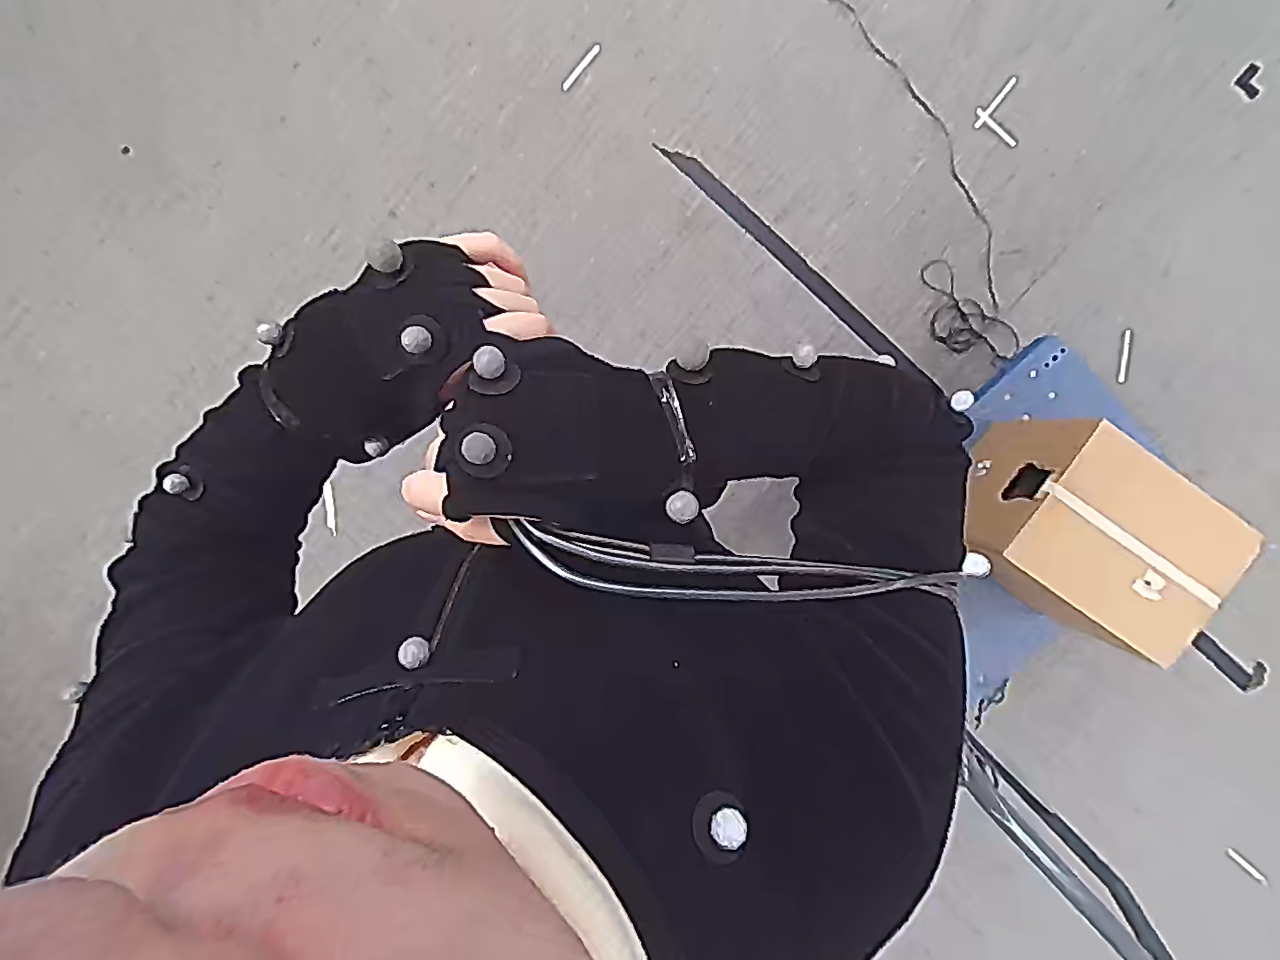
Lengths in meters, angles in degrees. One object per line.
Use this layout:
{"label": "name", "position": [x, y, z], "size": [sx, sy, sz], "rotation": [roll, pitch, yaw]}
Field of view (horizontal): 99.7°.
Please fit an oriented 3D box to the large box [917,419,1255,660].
{"label": "large box", "position": [0.915, 0.103, 1.168], "size": [0.408, 0.320, 0.320], "rotation": [35, 95, -4]}
